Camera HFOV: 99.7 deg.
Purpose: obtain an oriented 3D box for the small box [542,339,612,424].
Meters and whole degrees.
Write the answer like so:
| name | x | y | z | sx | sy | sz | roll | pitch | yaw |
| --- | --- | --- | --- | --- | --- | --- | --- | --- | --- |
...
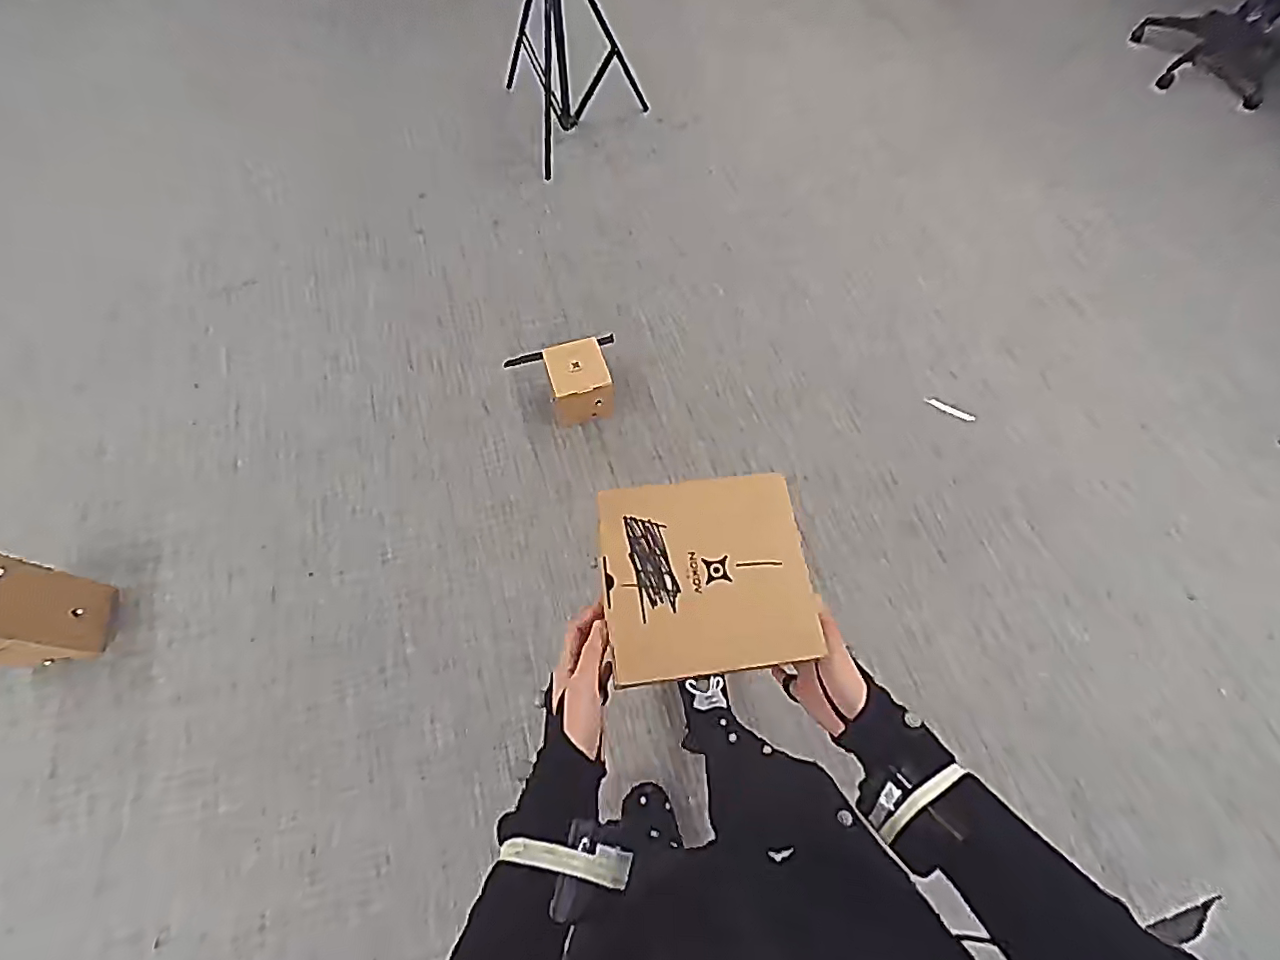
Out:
| name | x | y | z | sx | sy | sz | roll | pitch | yaw |
| --- | --- | --- | --- | --- | --- | --- | --- | --- | --- |
| small box | -0.183 | -0.284 | 1.613 | 0.168 | 0.176 | 0.179 | -16 | 66 | -10 |

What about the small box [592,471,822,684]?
| name | x | y | z | sx | sy | sz | roll | pitch | yaw |
| --- | --- | --- | --- | --- | --- | --- | --- | --- | --- |
| small box | 0.050 | 0.104 | 0.535 | 0.179 | 0.176 | 0.168 | -6 | 69 | -6 |

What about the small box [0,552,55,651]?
| name | x | y | z | sx | sy | sz | roll | pitch | yaw |
| --- | --- | --- | --- | --- | --- | --- | --- | --- | --- |
| small box | -1.410 | 0.263 | 1.141 | 0.168 | 0.176 | 0.179 | -11 | 67 | -6 |
